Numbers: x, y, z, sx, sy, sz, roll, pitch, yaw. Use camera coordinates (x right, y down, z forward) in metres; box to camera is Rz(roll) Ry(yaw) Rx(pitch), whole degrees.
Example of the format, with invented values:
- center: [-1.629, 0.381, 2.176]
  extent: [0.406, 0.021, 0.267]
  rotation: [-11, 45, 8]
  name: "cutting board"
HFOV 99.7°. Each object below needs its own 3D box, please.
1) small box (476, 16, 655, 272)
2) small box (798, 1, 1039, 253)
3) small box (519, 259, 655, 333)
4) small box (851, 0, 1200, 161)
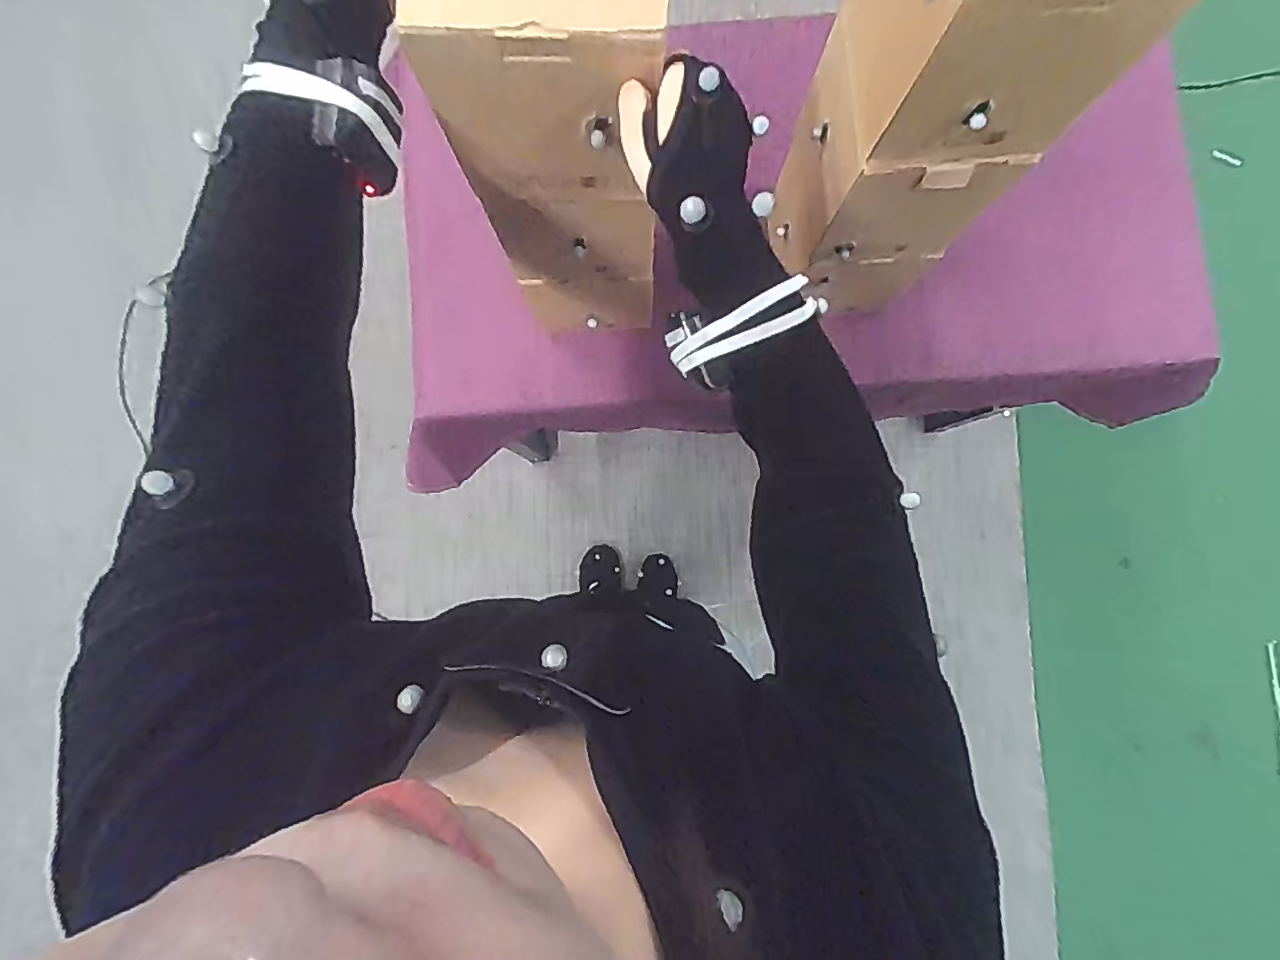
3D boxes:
- center: [-0.068, -0.337, 0.577]
  extent: [0.168, 0.176, 0.179]
  rotation: [-3, 85, -1]
  name: "small box"
- center: [0.278, -0.362, 0.579]
  extent: [0.168, 0.176, 0.179]
  rotation: [-4, 84, 0]
  name: "small box"
- center: [-0.068, -0.317, 0.741]
  extent: [0.168, 0.176, 0.179]
  rotation: [-3, 85, 0]
  name: "small box"
- center: [0.279, -0.387, 0.418]
  extent: [0.168, 0.176, 0.179]
  rotation: [-5, 85, 0]
  name: "small box"
